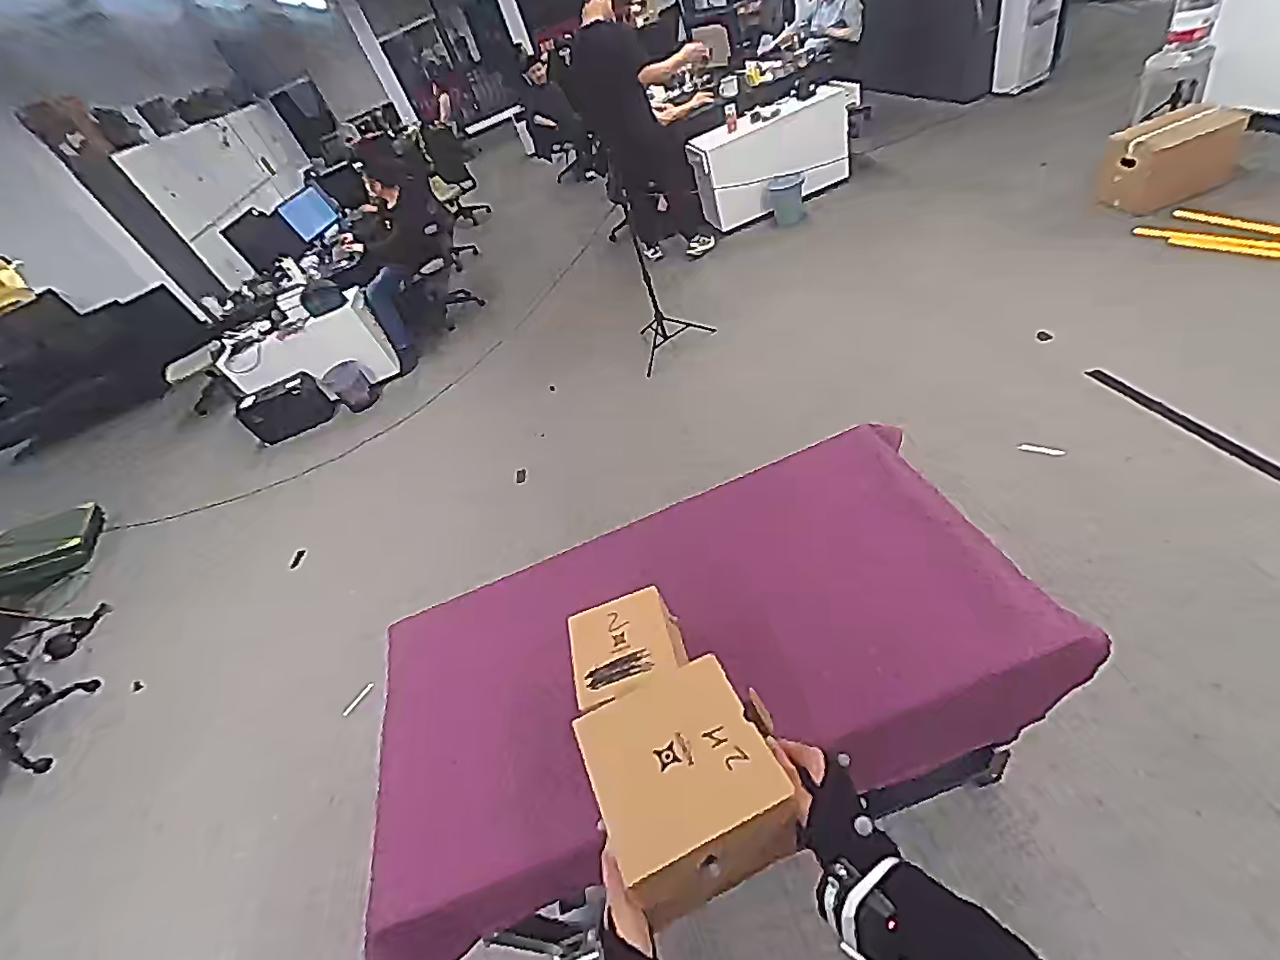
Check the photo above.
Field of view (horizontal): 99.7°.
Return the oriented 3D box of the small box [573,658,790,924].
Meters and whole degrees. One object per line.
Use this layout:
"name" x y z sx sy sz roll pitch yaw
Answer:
"small box" 0.048 0.338 0.590 0.179 0.176 0.168 -22 40 -11
